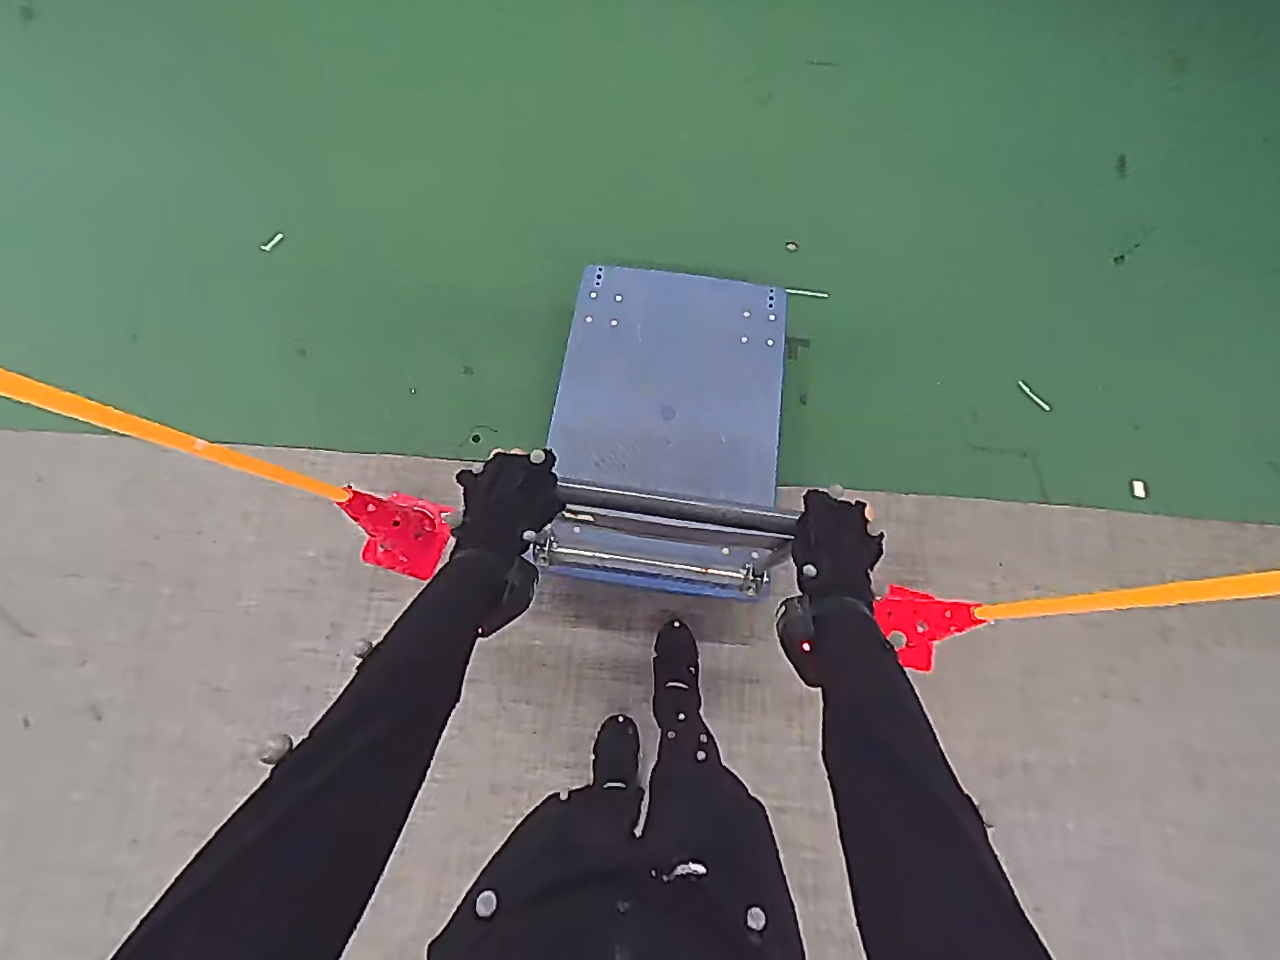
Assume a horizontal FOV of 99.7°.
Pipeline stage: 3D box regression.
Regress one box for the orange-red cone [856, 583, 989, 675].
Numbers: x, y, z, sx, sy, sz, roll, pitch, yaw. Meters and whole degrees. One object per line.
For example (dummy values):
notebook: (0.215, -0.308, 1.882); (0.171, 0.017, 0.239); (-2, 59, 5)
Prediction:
orange-red cone: (0.664, 0.323, 1.222); (0.198, 0.360, 0.199); (14, 72, 4)
